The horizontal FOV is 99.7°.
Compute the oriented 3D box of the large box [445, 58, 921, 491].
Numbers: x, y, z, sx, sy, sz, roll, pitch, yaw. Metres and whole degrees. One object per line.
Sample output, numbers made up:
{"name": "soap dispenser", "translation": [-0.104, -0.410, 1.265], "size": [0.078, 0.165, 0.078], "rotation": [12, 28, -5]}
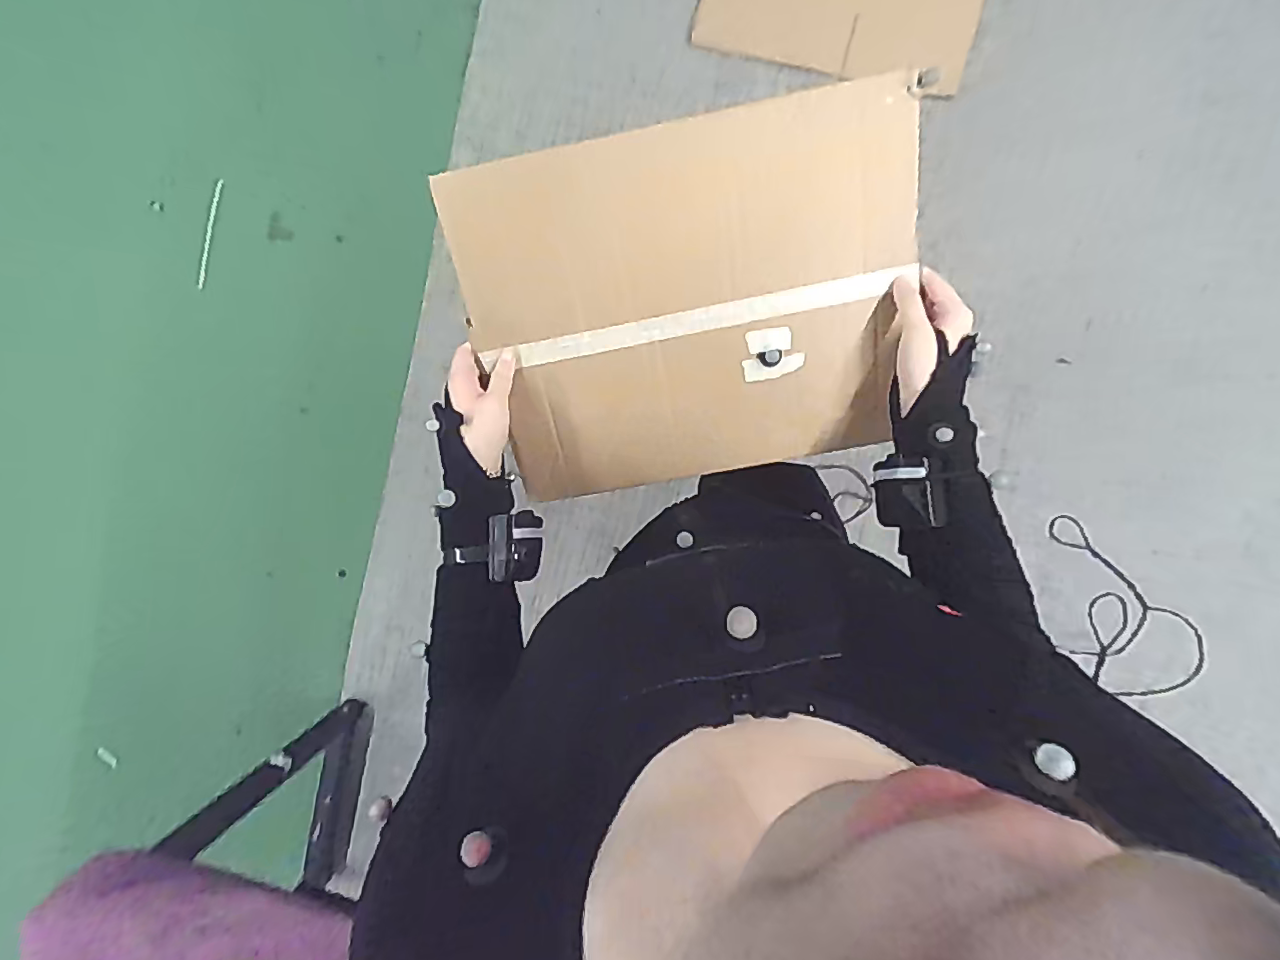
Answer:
{"name": "large box", "translation": [0.052, -0.218, 0.635], "size": [0.408, 0.320, 0.320], "rotation": [-10, 114, 3]}
